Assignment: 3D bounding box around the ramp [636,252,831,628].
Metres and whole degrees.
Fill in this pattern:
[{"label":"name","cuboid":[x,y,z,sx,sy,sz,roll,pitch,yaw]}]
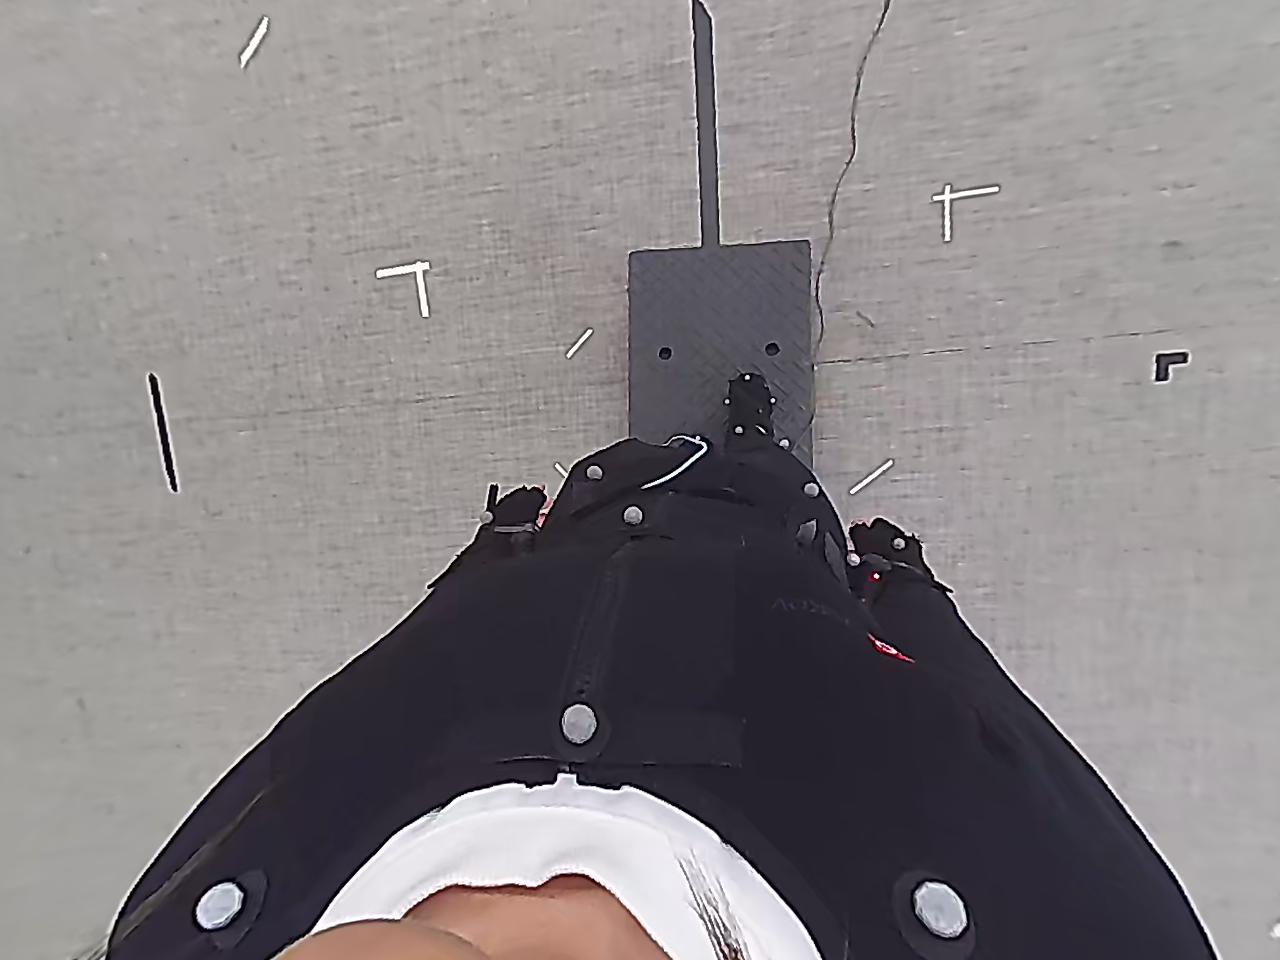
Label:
[{"label":"ramp","cuboid":[0.235,-0.111,1.457,0.509,0.206,0.991,-3,95,11]}]
